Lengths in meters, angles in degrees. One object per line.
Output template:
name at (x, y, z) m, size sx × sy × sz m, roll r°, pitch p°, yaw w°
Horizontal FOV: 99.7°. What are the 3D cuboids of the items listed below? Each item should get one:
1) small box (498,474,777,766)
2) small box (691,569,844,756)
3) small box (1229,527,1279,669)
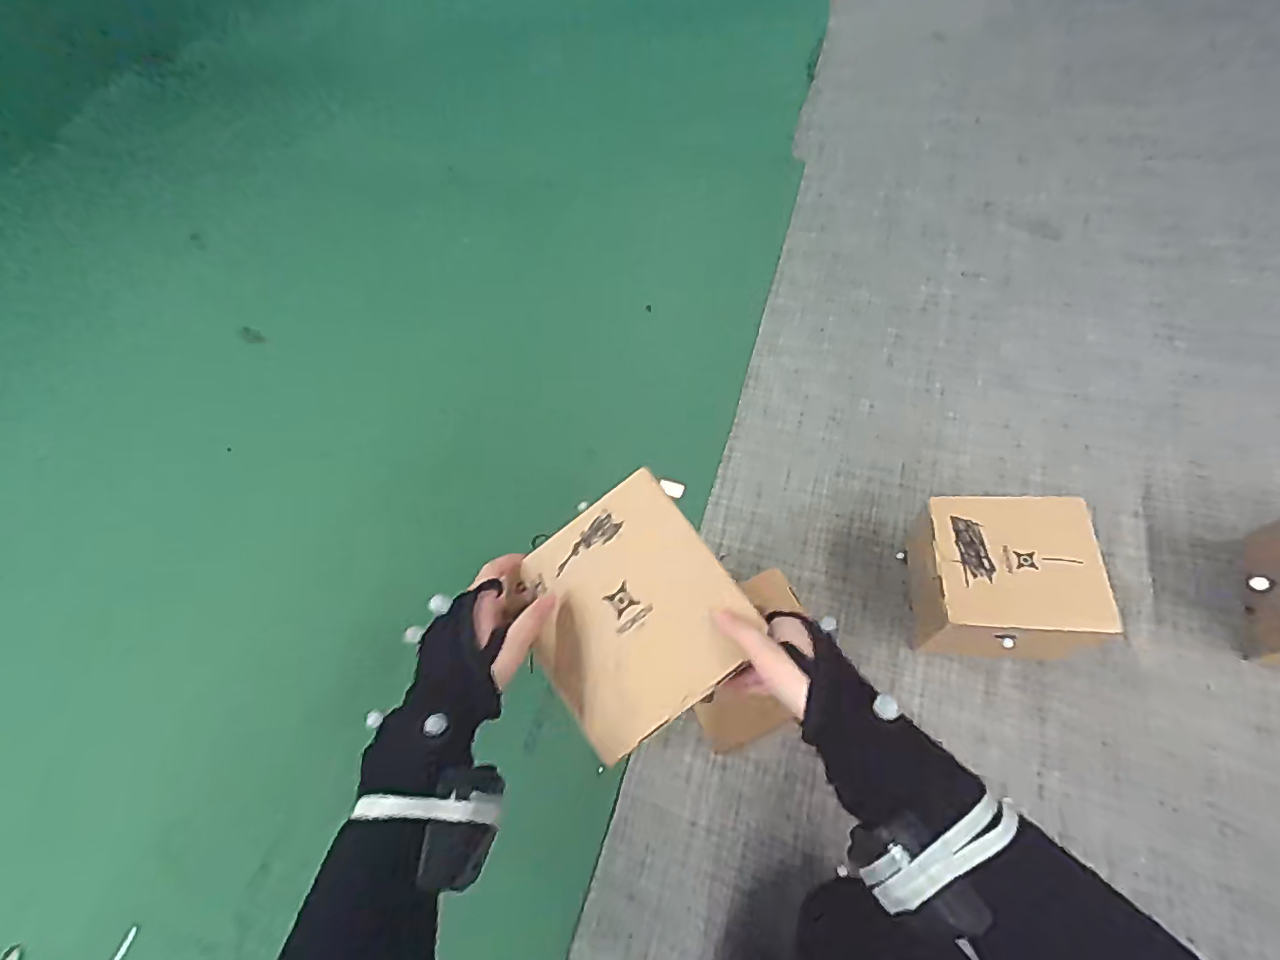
small box at (0.006, 0.121, 0.510) m, size 0.168 × 0.176 × 0.179 m, roll -37°, pitch 75°, yaw 1°
small box at (0.144, 0.250, 0.721) m, size 0.179 × 0.176 × 0.168 m, roll -26°, pitch 59°, yaw -2°
small box at (0.842, 0.136, 0.611) m, size 0.179 × 0.176 × 0.168 m, roll 11°, pitch 65°, yaw 19°
